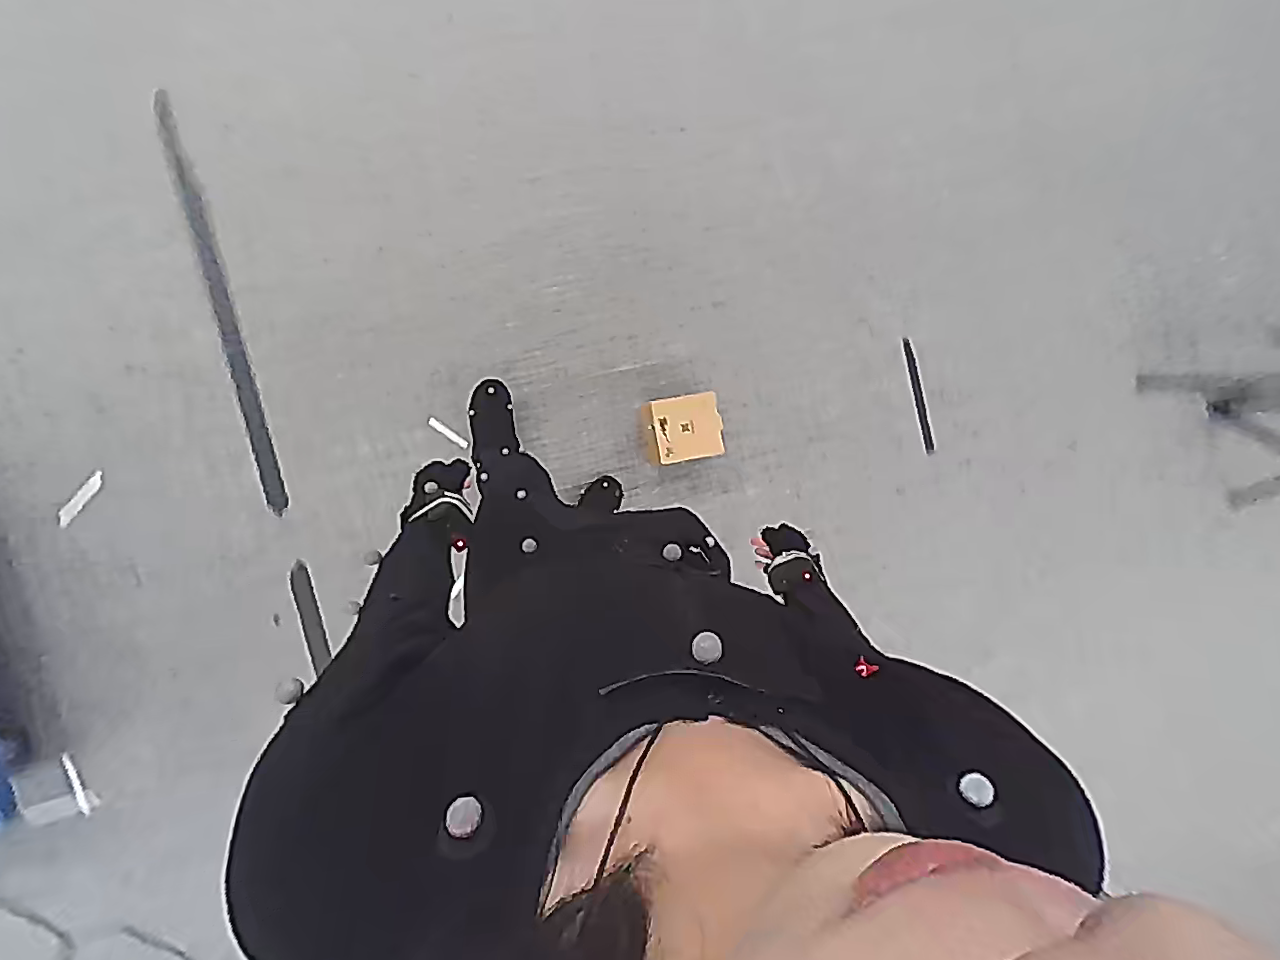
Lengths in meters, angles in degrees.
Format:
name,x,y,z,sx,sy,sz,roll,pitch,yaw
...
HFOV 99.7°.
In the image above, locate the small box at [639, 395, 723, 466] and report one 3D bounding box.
name,x,y,z,sx,sy,sz,roll,pitch,yaw
small box,0.107,-0.133,1.473,0.179,0.176,0.168,-10,94,-10
